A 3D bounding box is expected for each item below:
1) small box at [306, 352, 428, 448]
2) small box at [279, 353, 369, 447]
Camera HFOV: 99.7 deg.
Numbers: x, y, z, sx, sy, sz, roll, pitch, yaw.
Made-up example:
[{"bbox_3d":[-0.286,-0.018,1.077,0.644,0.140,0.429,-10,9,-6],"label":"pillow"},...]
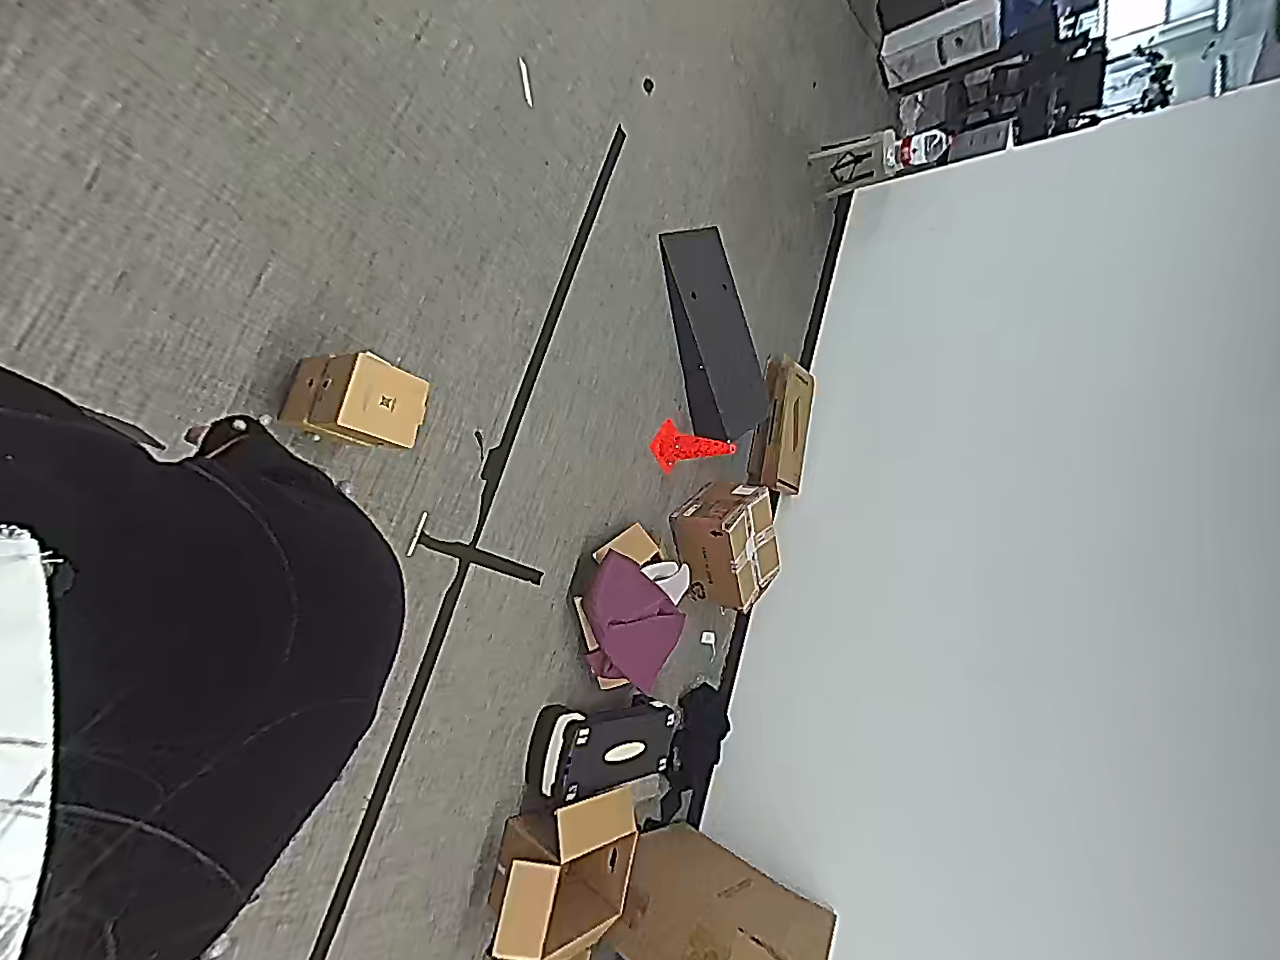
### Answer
[{"bbox_3d":[-0.629,-0.179,1.248,0.179,0.176,0.168,23,76,-48],"label":"small box"},{"bbox_3d":[-0.760,-0.195,1.343,0.168,0.176,0.179,28,74,-48],"label":"small box"}]
